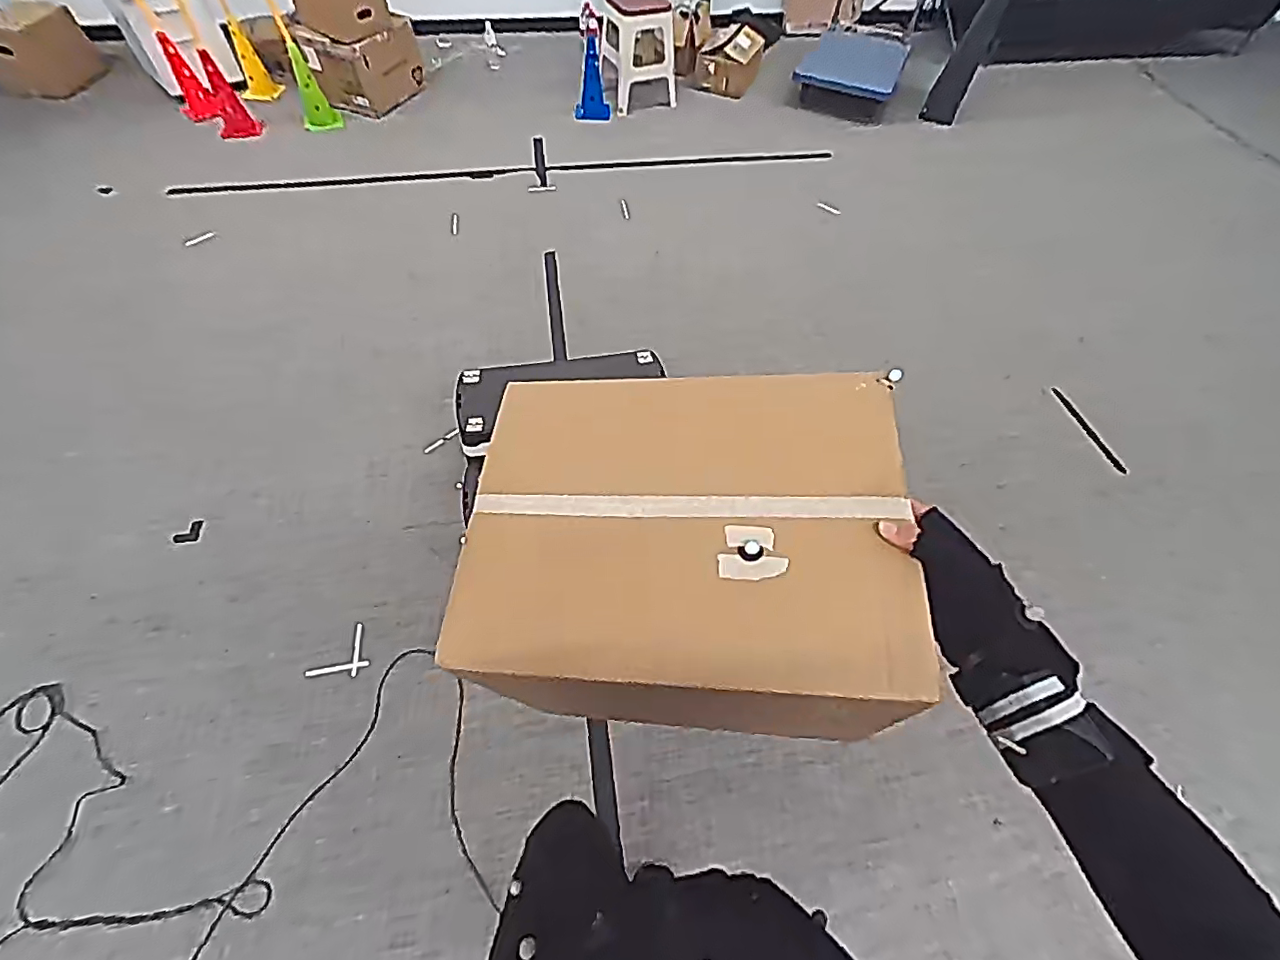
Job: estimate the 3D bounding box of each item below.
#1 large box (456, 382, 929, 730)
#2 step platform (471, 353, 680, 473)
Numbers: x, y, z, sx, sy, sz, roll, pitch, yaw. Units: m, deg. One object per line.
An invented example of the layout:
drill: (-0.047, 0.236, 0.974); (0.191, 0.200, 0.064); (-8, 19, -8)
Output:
large box: (0.061, 0.106, 0.647); (0.408, 0.320, 0.320); (0, 61, 10)
step platform: (-0.203, -0.232, 1.794); (0.684, 0.204, 0.286); (-9, 57, -9)
